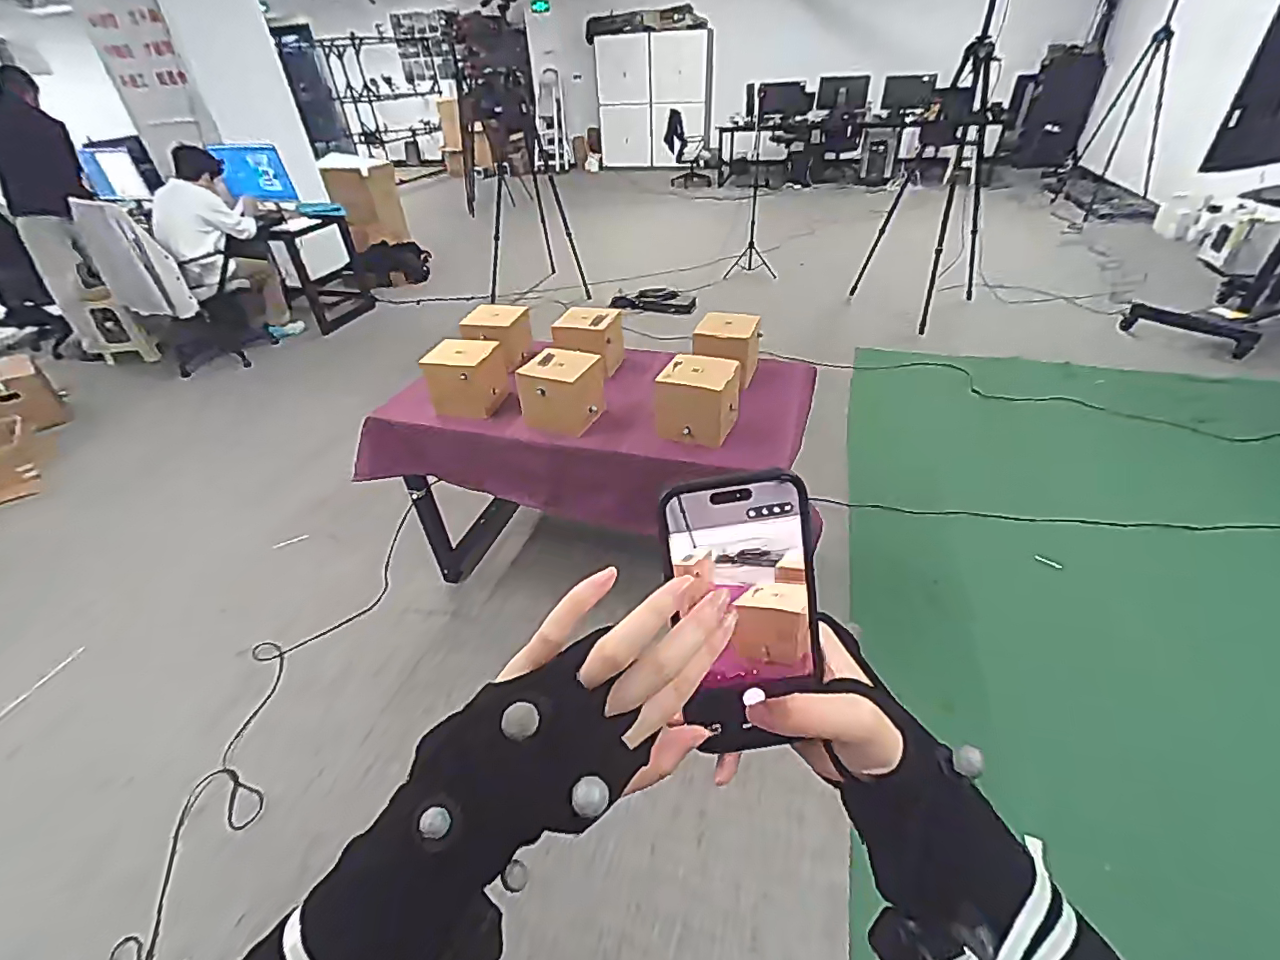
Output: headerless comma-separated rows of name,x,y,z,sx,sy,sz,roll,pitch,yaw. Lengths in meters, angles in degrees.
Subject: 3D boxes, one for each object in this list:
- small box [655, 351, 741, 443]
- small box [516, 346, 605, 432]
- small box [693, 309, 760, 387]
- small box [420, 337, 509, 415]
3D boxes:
small box,0.152,-0.216,1.412,0.179,0.176,0.168,14,41,20
small box,-0.210,-0.250,1.485,0.179,0.176,0.168,14,41,19
small box,0.261,-0.402,1.640,0.168,0.176,0.179,11,41,18
small box,-0.504,-0.304,1.579,0.179,0.176,0.168,6,38,10
